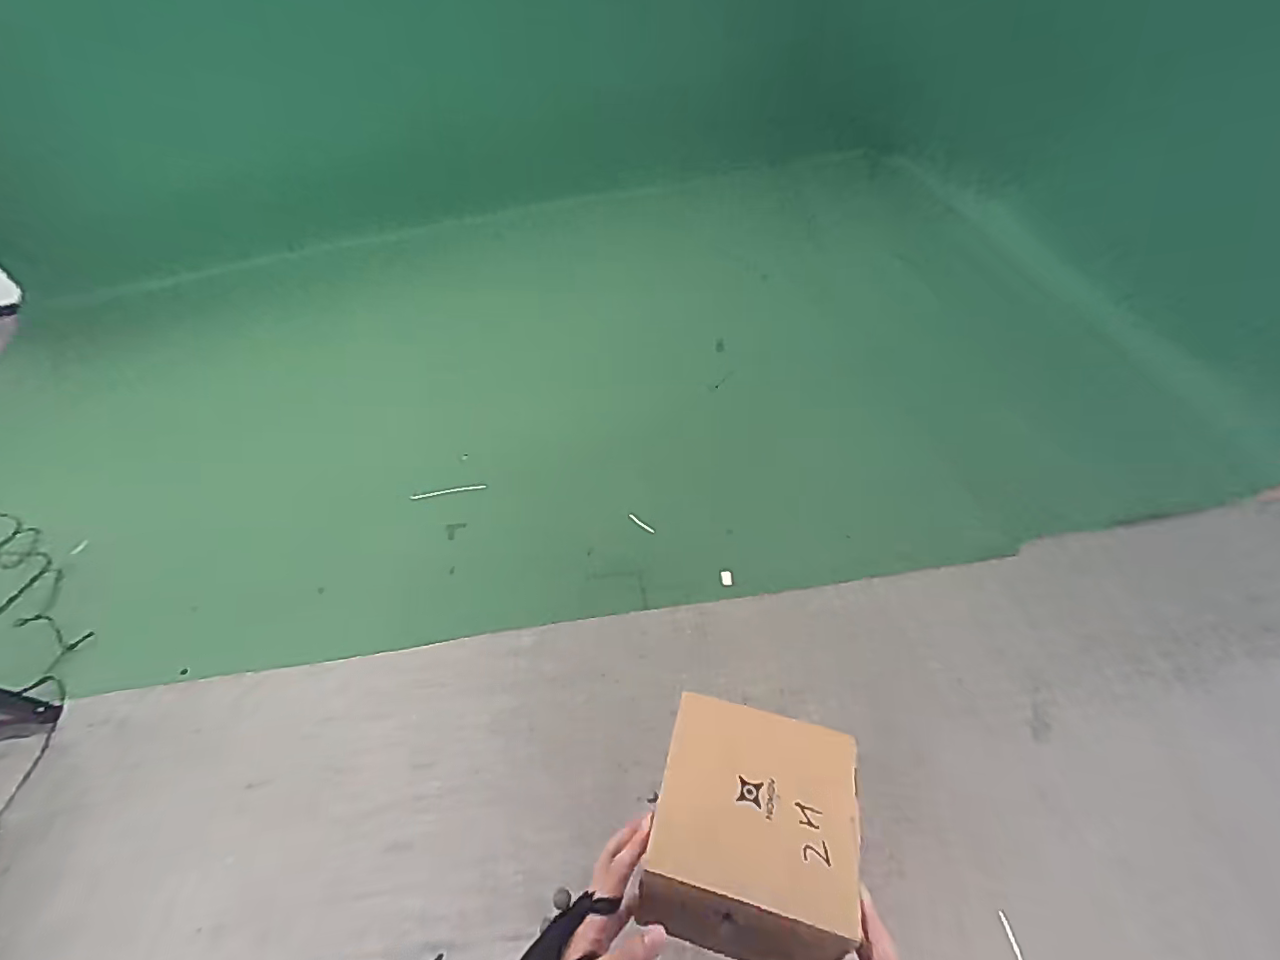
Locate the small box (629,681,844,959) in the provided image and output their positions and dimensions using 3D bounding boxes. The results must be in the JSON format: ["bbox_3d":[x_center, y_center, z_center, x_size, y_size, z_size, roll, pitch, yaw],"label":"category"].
[{"bbox_3d":[0.092,0.338,0.542,0.179,0.176,0.168,12,39,10],"label":"small box"}]
